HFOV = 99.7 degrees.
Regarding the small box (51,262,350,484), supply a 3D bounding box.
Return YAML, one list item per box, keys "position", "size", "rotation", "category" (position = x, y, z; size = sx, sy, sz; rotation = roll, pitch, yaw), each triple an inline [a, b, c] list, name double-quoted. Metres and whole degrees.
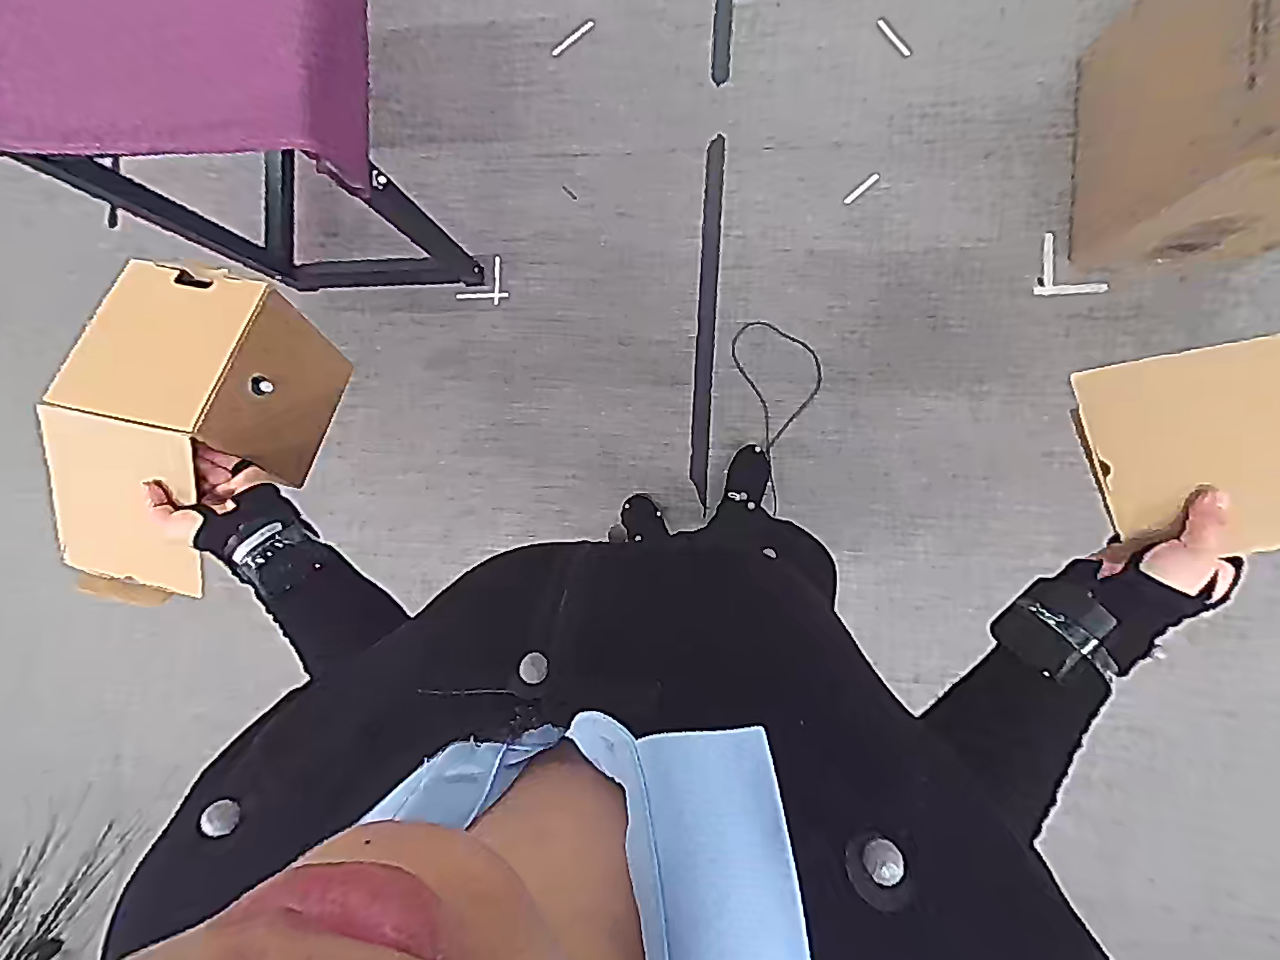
- position: [-0.470, -0.110, 0.615]
  size: [0.168, 0.176, 0.179]
  rotation: [12, 71, 6]
  category: "small box"
